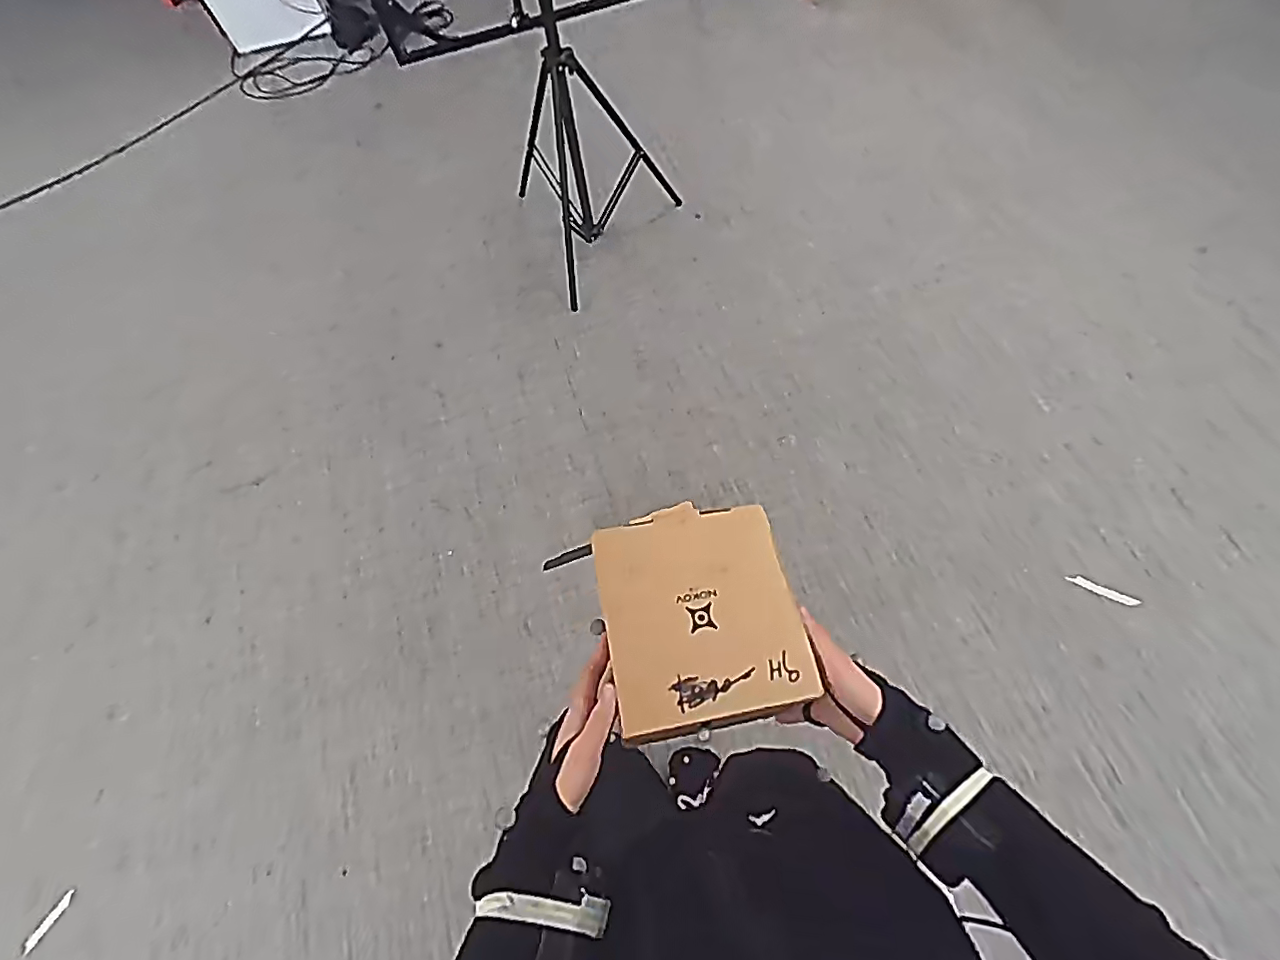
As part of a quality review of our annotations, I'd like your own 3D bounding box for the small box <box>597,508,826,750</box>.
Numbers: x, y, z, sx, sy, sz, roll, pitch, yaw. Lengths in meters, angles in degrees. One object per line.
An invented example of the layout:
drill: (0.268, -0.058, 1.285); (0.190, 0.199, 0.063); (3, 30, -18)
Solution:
small box: (0.050, 0.150, 0.528); (0.168, 0.176, 0.179); (-9, 62, -6)
